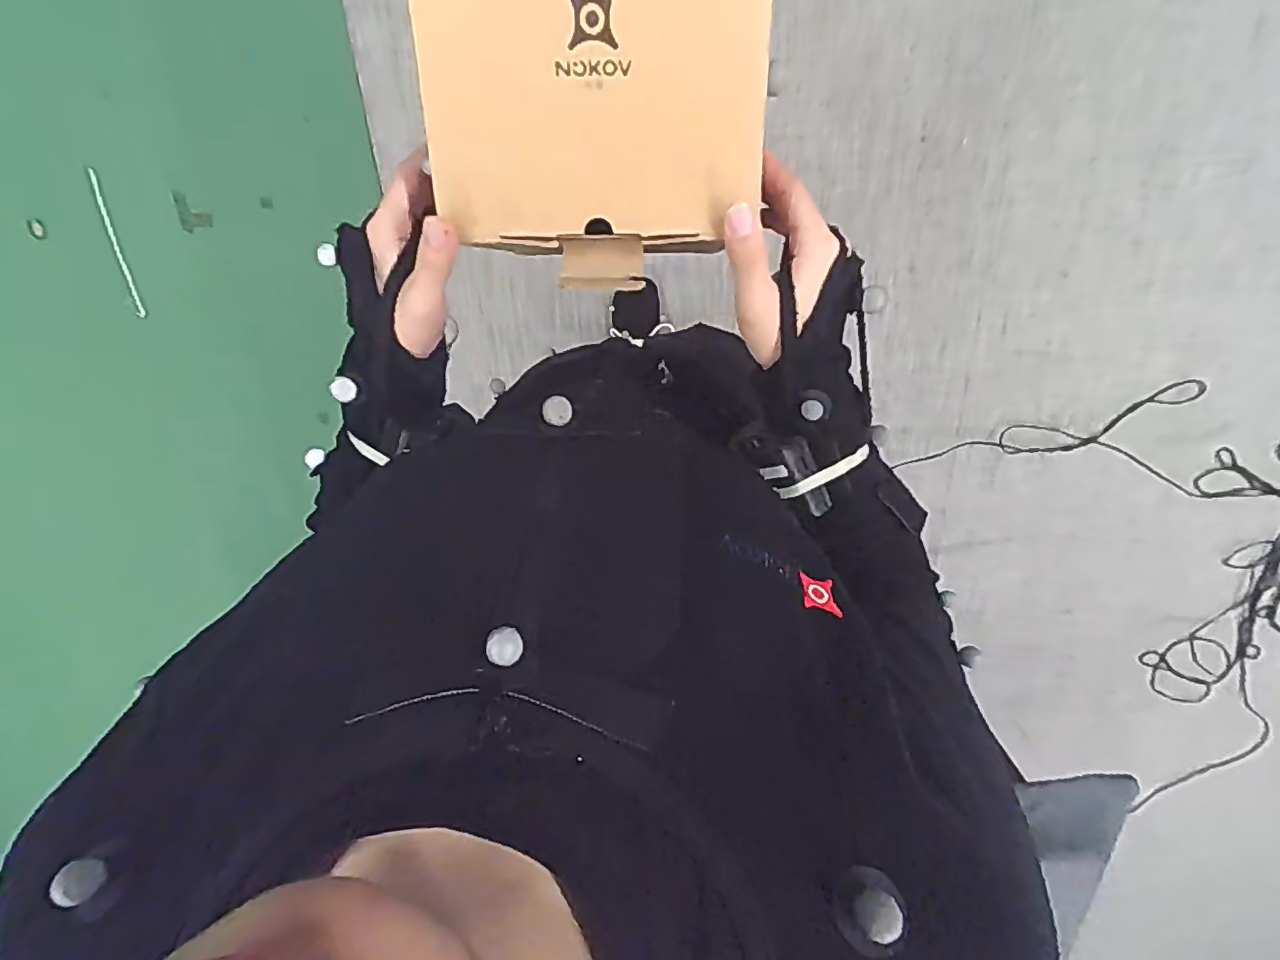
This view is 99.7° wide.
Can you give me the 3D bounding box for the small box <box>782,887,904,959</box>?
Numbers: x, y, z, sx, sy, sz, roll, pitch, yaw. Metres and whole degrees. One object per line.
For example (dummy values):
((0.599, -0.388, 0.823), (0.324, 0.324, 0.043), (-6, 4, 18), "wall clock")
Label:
((0.330, 0.787, 0.852), (0.168, 0.176, 0.179), (-11, 111, 6), "small box")
